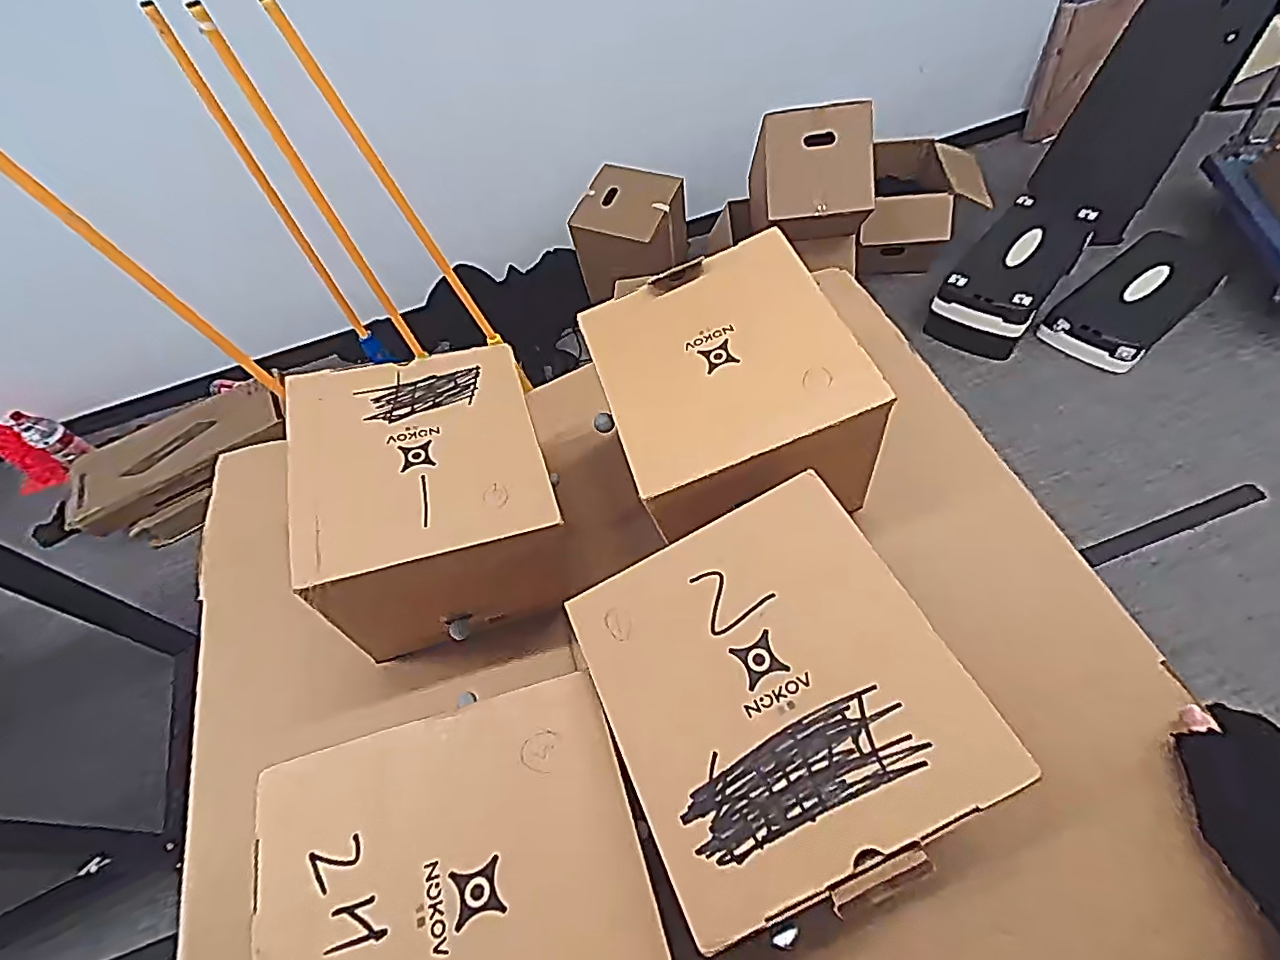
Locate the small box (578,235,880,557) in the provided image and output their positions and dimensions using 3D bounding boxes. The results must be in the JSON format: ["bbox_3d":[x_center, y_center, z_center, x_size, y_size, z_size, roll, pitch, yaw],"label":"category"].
[{"bbox_3d":[0.070,-0.052,0.445,0.168,0.176,0.179,-23,59,4],"label":"small box"}]
